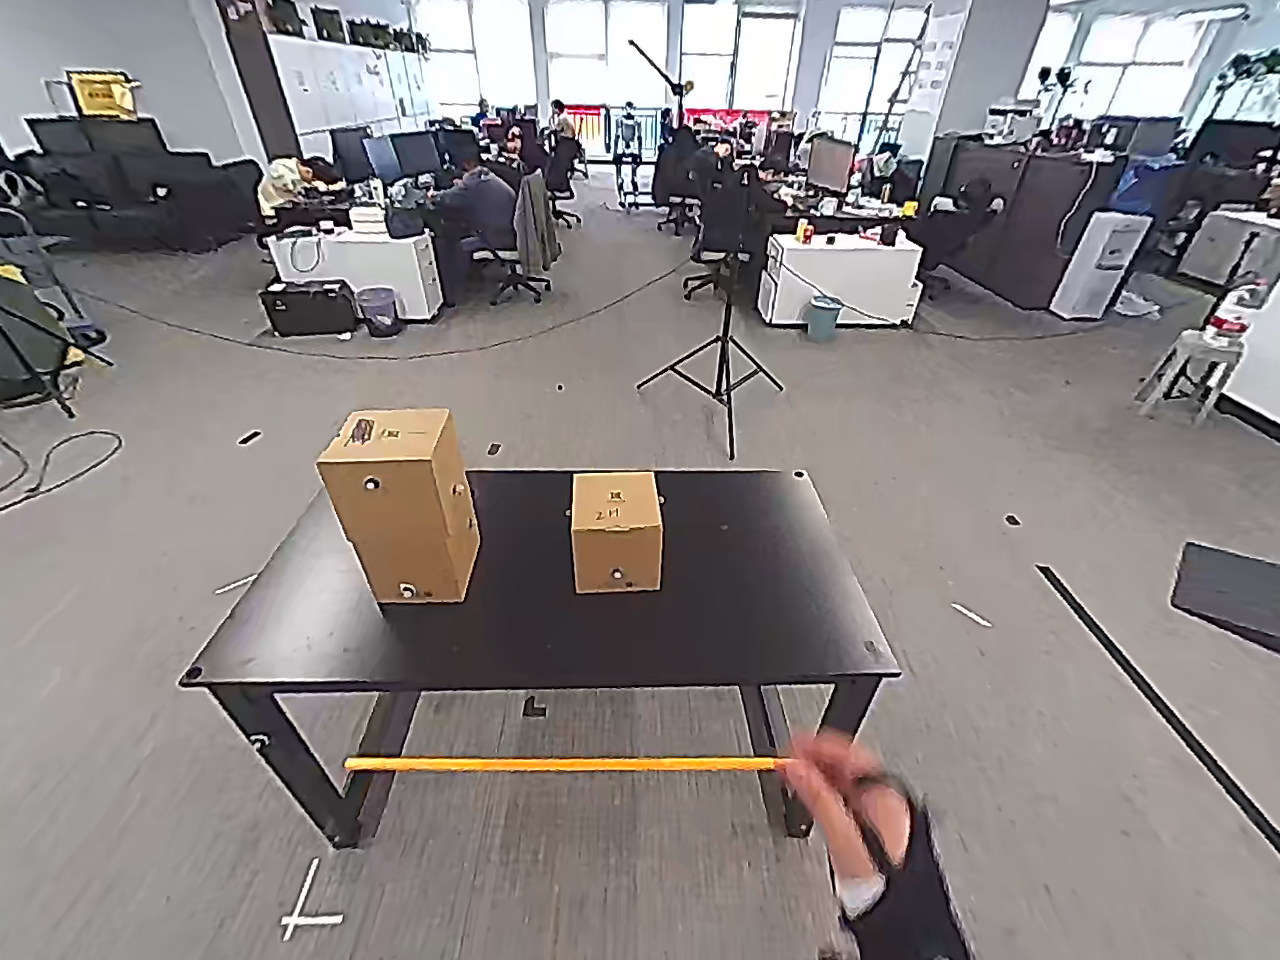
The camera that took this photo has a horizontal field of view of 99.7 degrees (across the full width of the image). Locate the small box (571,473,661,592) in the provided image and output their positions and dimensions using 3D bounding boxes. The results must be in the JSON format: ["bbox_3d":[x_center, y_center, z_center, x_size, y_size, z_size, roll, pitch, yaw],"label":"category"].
[{"bbox_3d":[-0.051,0.104,1.088,0.168,0.176,0.179,-2,36,-4],"label":"small box"}]

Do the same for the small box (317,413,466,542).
[{"bbox_3d":[-0.422,-0.004,0.954,0.179,0.176,0.168,-2,36,-4],"label":"small box"}]

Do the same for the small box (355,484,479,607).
[{"bbox_3d":[-0.421,0.126,1.056,0.168,0.176,0.179,-2,37,-2],"label":"small box"}]
